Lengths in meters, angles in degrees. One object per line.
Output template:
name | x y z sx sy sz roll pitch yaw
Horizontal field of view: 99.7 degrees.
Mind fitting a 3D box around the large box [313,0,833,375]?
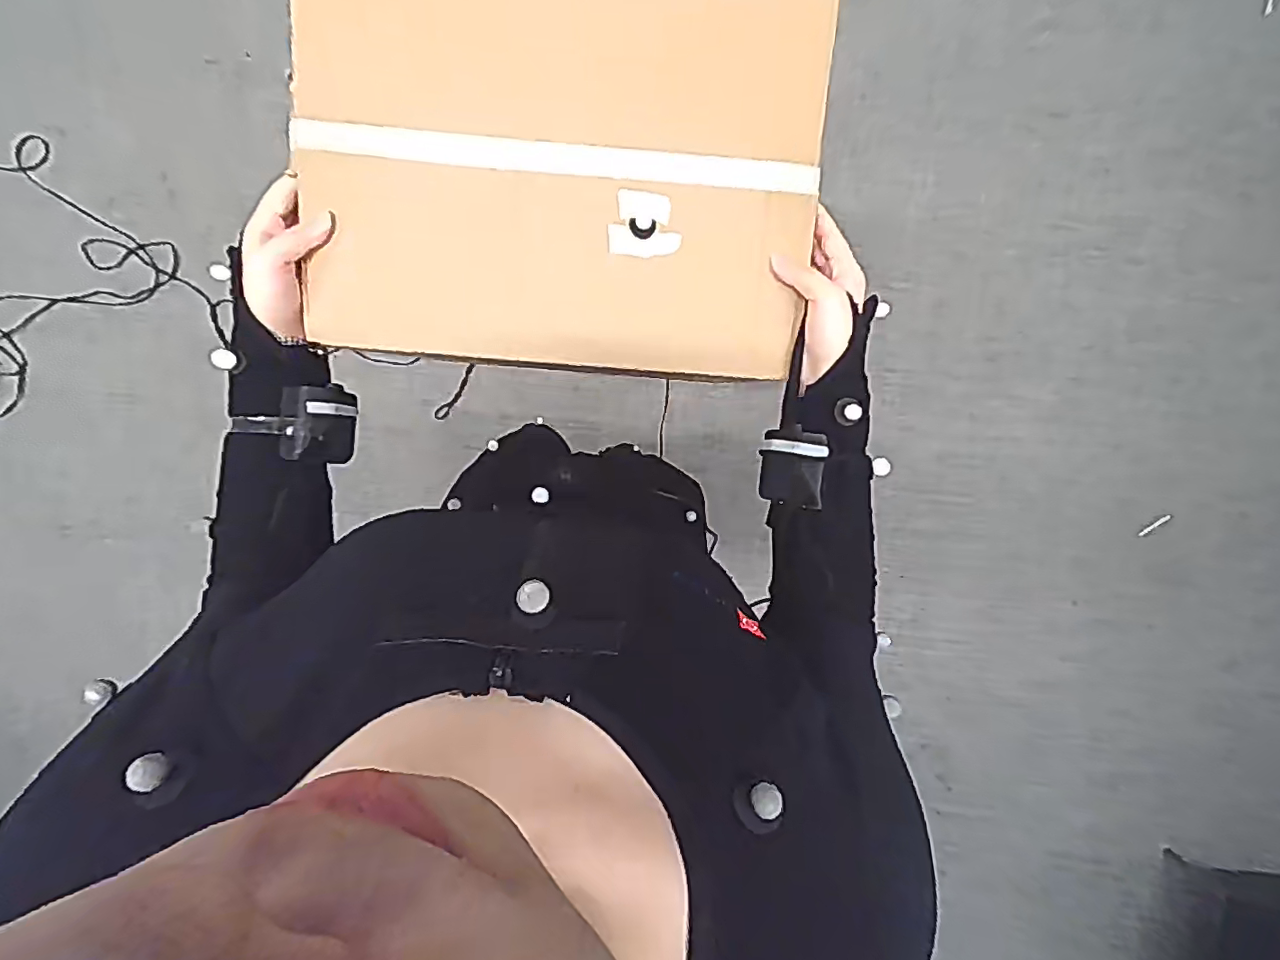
large box | -0.063 -0.281 0.578 0.408 0.320 0.320 3 101 -4
